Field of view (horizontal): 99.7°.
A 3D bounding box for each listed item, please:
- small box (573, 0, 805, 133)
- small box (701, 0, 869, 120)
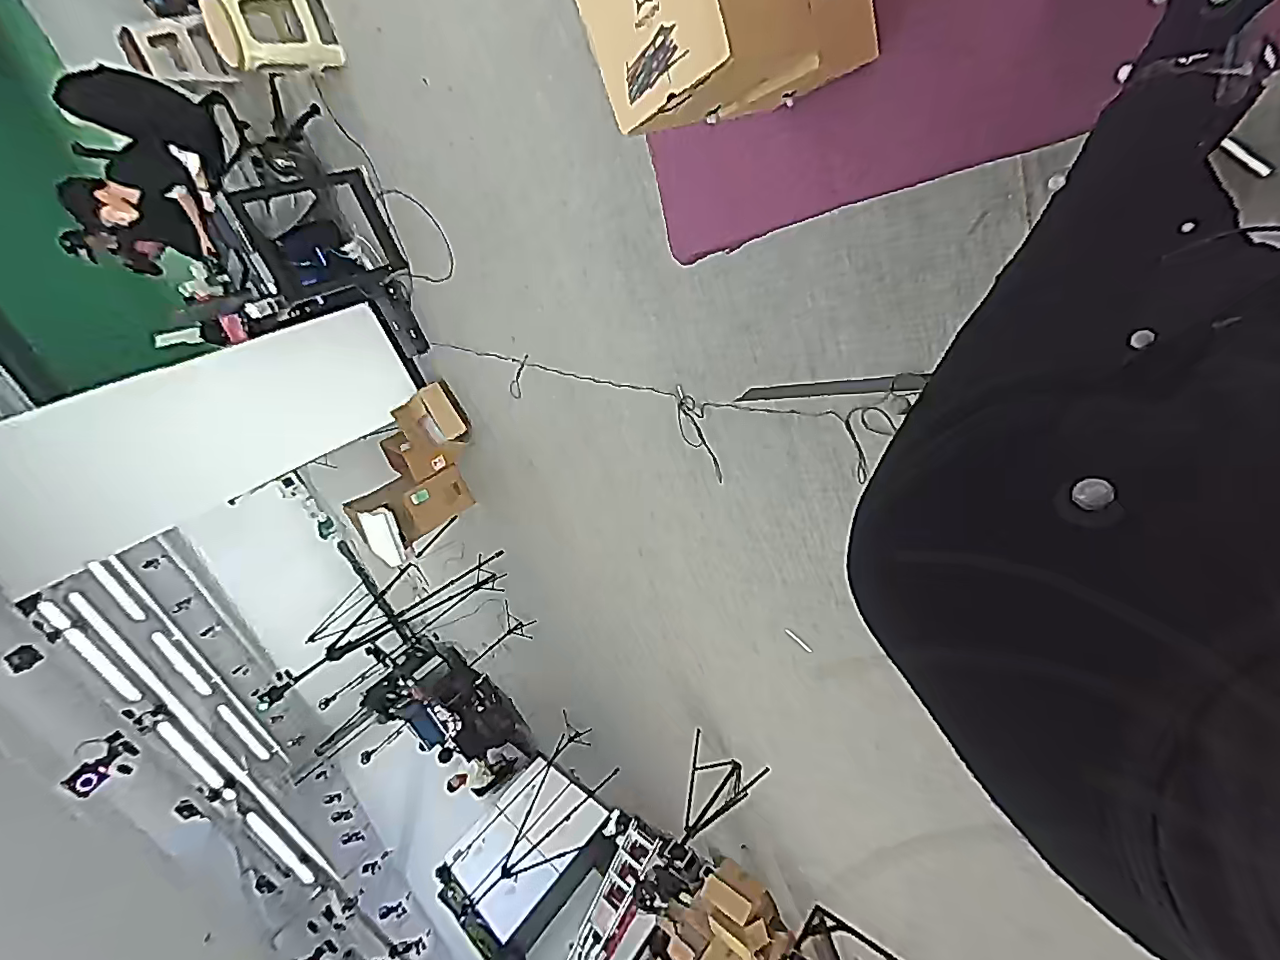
[{"bbox_3d":[0.053,-0.512,0.579,0.168,0.176,0.179,2,122,48],"label":"small box"},{"bbox_3d":[0.167,-0.585,0.672,0.168,0.176,0.179,7,126,45],"label":"small box"}]
